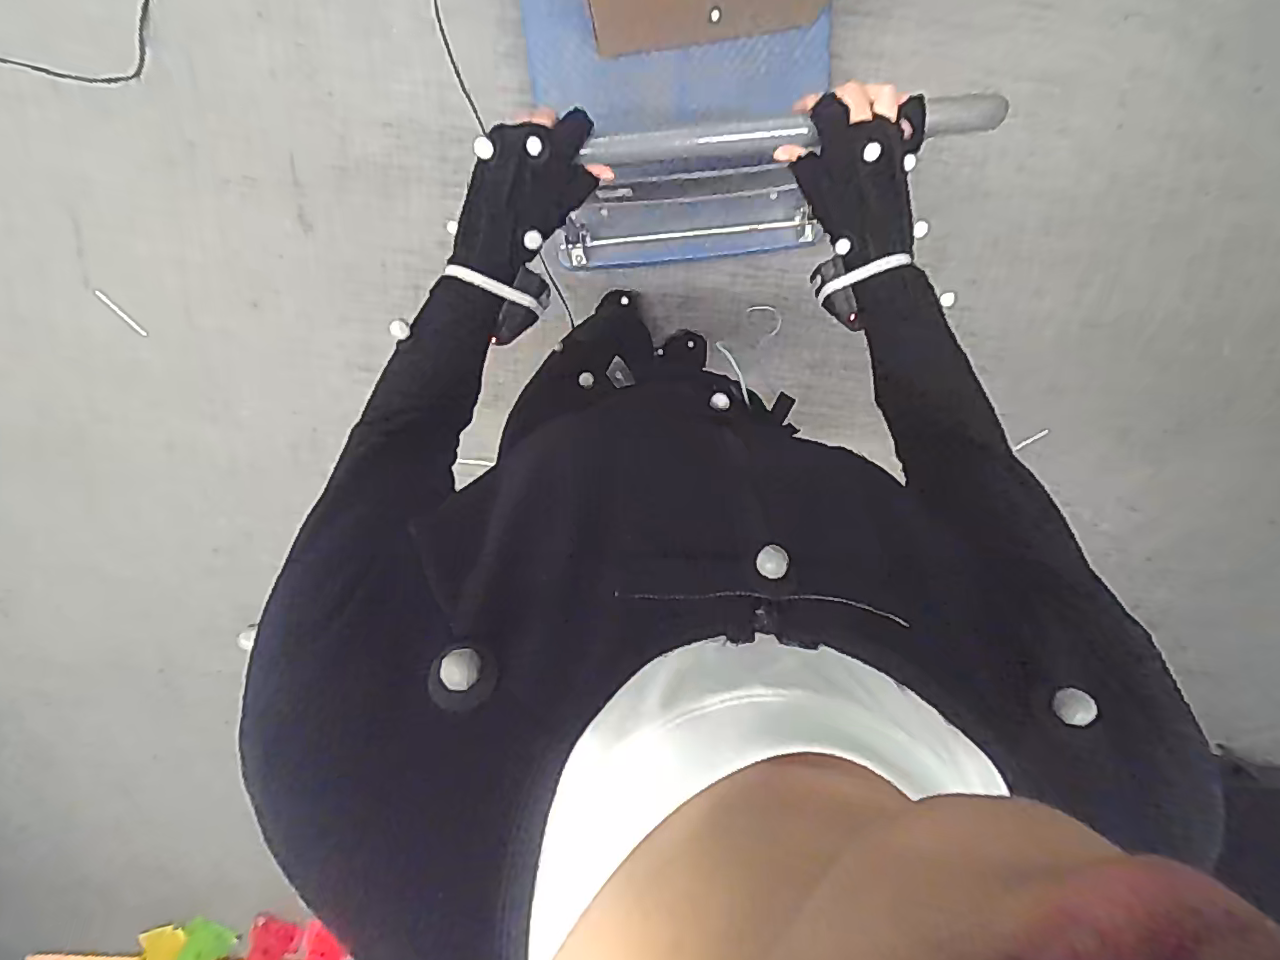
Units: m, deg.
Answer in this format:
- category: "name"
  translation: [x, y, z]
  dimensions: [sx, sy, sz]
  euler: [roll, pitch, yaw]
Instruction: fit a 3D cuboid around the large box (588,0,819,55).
- category: "large box"
  translation: [0.100, -0.927, 0.840]
  dimensions: [0.408, 0.320, 0.320]
  euler: [-6, 109, 4]
